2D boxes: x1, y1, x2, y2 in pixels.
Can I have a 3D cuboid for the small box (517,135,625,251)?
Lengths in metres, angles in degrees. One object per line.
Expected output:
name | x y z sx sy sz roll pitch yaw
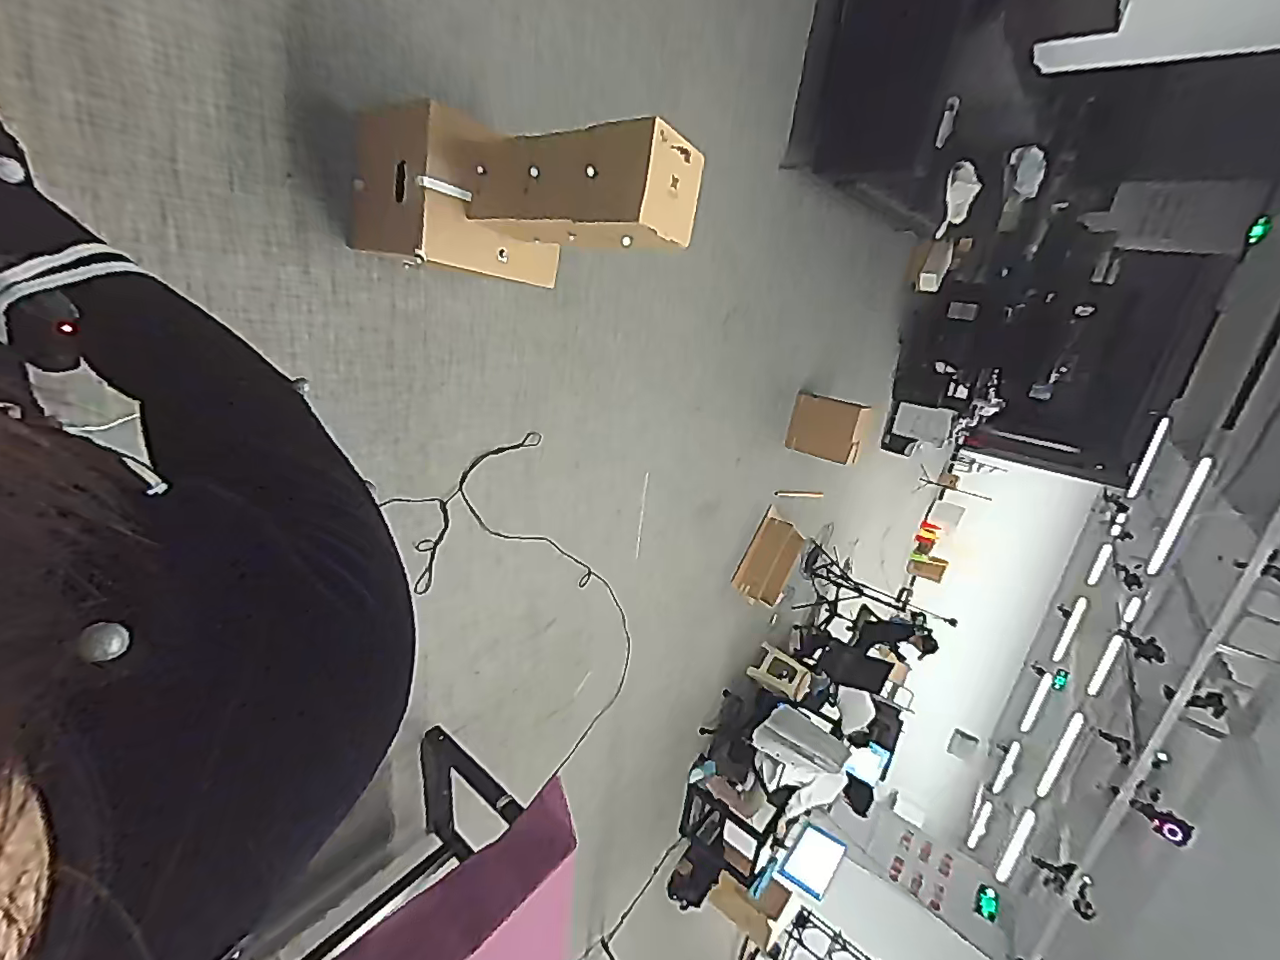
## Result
small box | -0.130 -0.598 1.145 0.179 0.176 0.168 -2 106 -53

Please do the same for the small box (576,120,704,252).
small box | -0.004 -0.558 1.048 0.168 0.176 0.179 -4 109 -53

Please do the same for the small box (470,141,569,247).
small box | -0.259 -0.646 1.236 0.179 0.176 0.168 -4 108 -53
